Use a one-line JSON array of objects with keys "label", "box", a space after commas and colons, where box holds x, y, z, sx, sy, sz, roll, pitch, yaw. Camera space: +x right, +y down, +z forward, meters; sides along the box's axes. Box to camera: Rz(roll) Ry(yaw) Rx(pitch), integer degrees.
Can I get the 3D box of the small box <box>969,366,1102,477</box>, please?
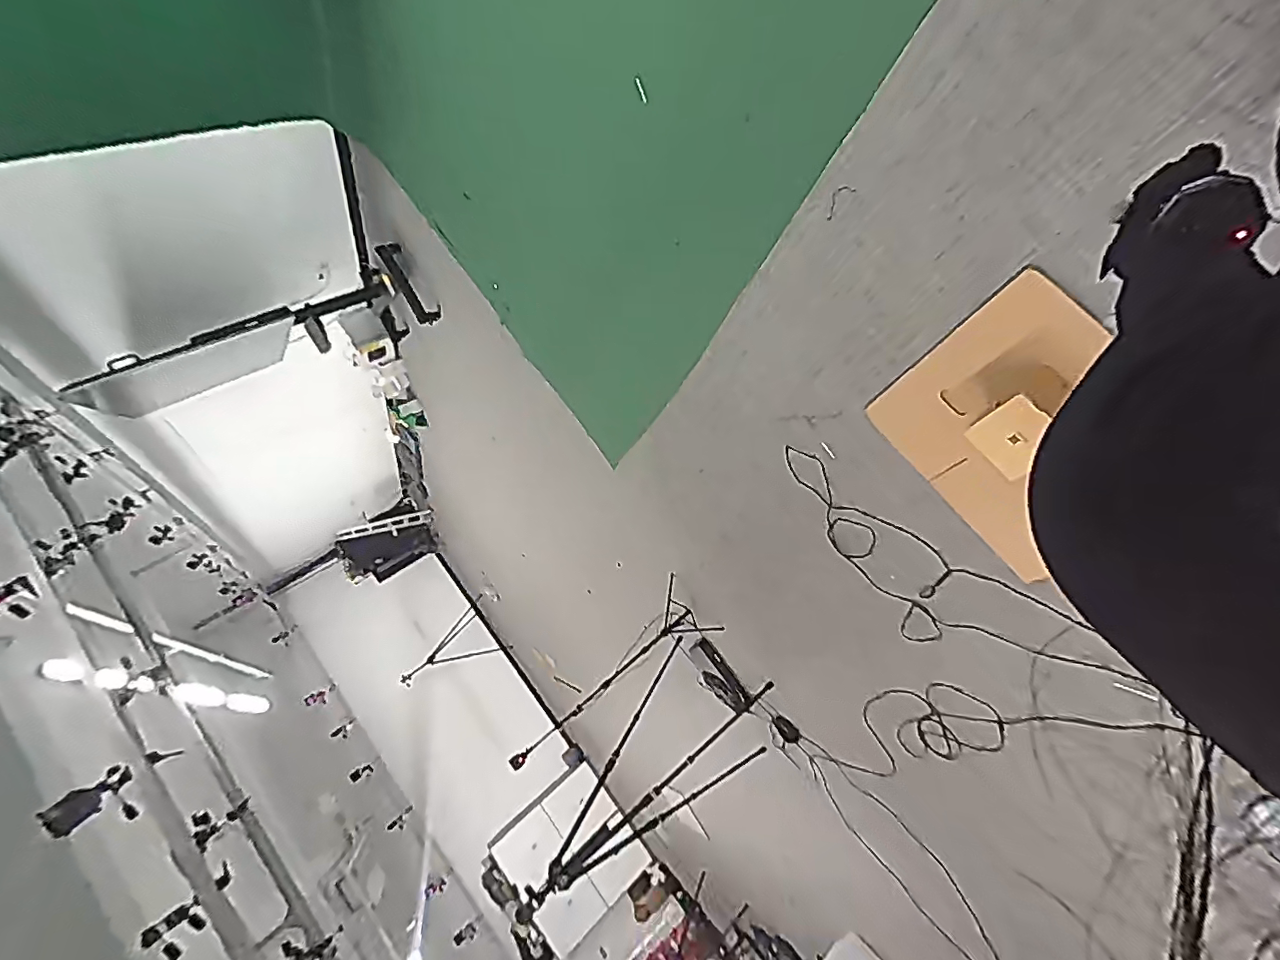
[{"label": "small box", "box": [0.954, -0.142, 1.305, 0.168, 0.176, 0.179, 50, 149, 12]}]
